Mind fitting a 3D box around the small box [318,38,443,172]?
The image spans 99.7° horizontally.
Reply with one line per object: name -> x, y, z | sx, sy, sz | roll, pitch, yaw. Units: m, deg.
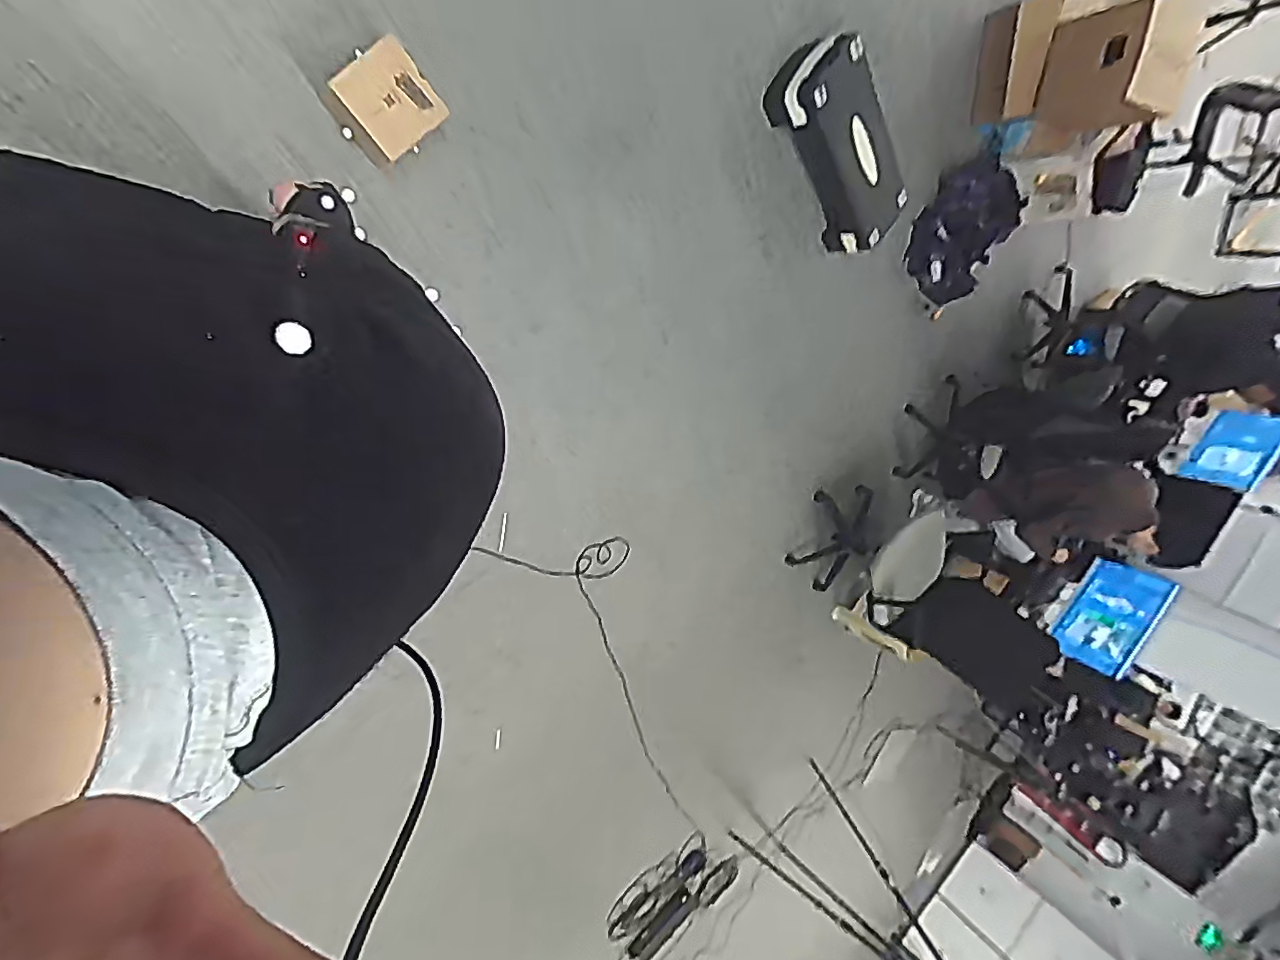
small box -> -0.572, -0.807, 1.181 | 0.179, 0.176, 0.168 | -48, 129, -9
